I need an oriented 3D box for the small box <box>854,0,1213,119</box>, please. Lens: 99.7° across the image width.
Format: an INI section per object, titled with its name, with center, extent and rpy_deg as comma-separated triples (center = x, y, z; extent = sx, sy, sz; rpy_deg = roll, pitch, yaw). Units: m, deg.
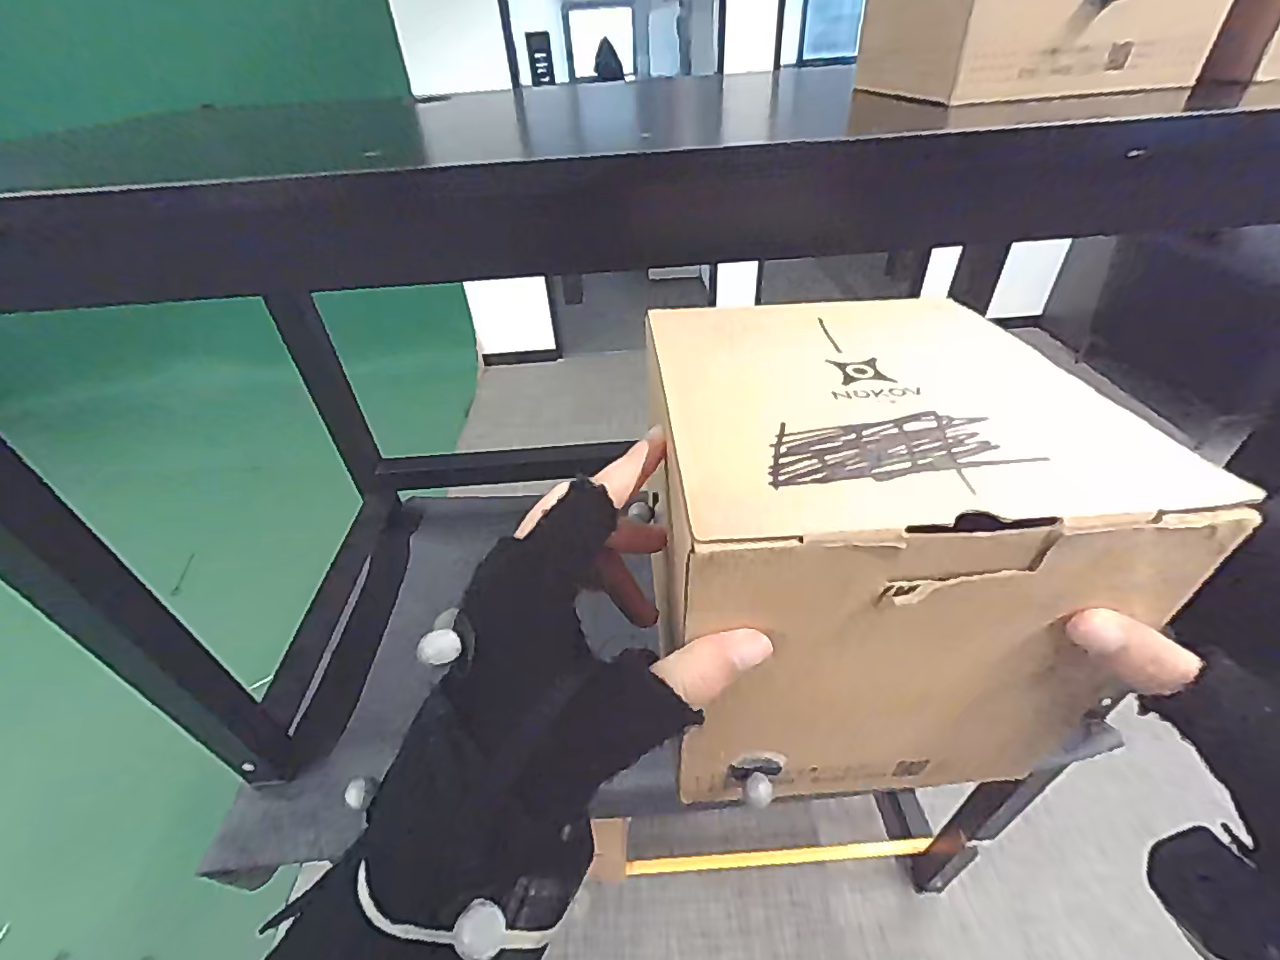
[small box]
center = 0.272, -0.365, 0.385
extent = 0.168, 0.176, 0.179
rpy_deg = -5, 39, 0
